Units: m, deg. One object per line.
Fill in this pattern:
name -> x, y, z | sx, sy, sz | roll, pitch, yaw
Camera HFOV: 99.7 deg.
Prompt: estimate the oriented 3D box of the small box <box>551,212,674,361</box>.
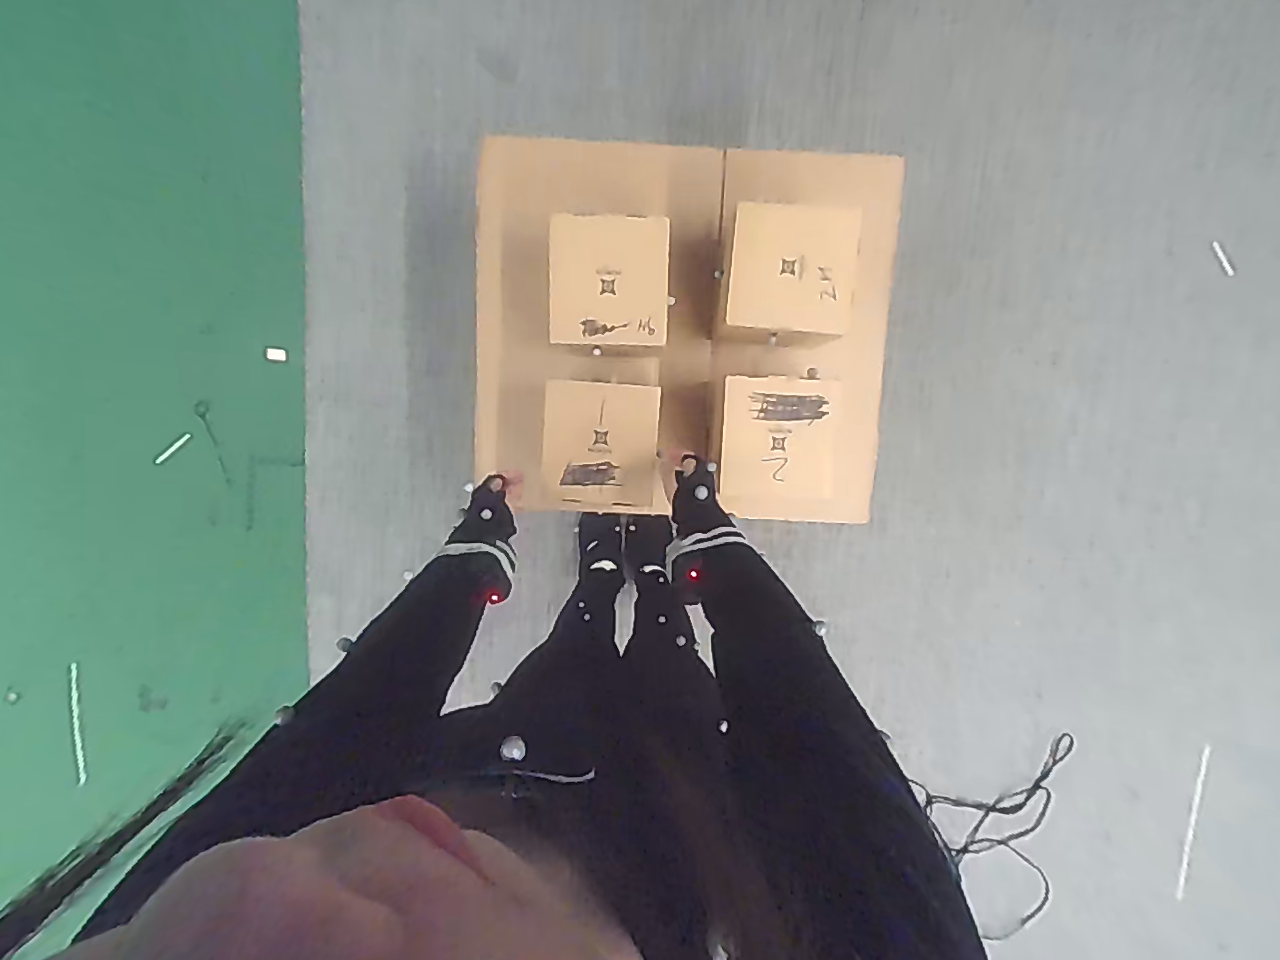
small box -> -0.038, -0.282, 0.821 | 0.168, 0.176, 0.179 | 2, 96, 2
